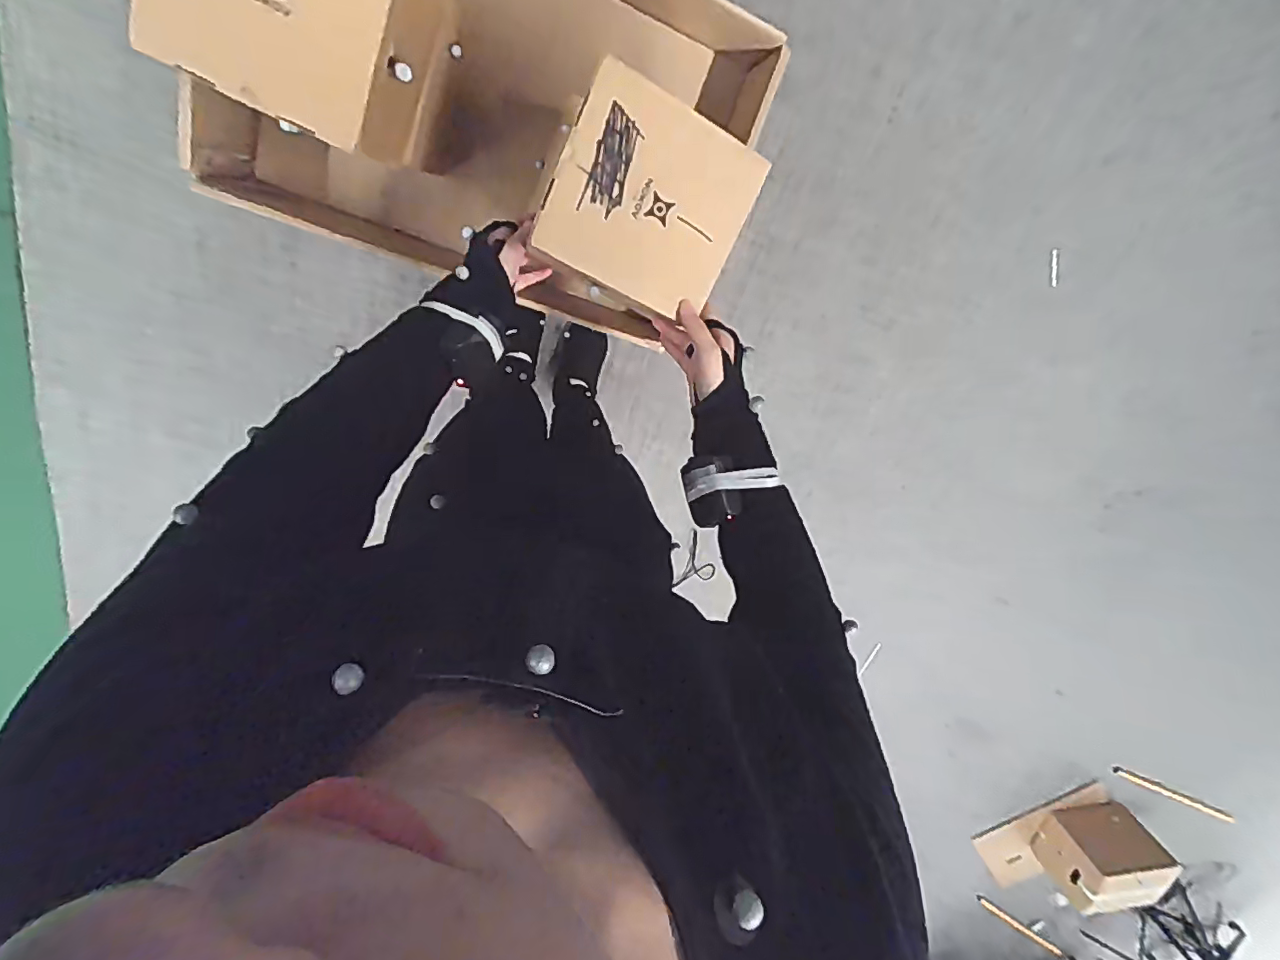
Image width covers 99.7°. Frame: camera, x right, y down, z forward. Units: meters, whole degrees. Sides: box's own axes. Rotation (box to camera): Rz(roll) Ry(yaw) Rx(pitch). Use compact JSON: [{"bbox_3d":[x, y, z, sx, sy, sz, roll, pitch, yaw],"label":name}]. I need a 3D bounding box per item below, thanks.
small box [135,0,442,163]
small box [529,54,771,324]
[{"bbox_3d":[-0.289,-0.414,0.481,0.168,0.176,0.179,21,112,-18],"label":"small box"},{"bbox_3d":[-0.005,-0.278,0.563,0.179,0.176,0.168,22,103,-19],"label":"small box"}]
